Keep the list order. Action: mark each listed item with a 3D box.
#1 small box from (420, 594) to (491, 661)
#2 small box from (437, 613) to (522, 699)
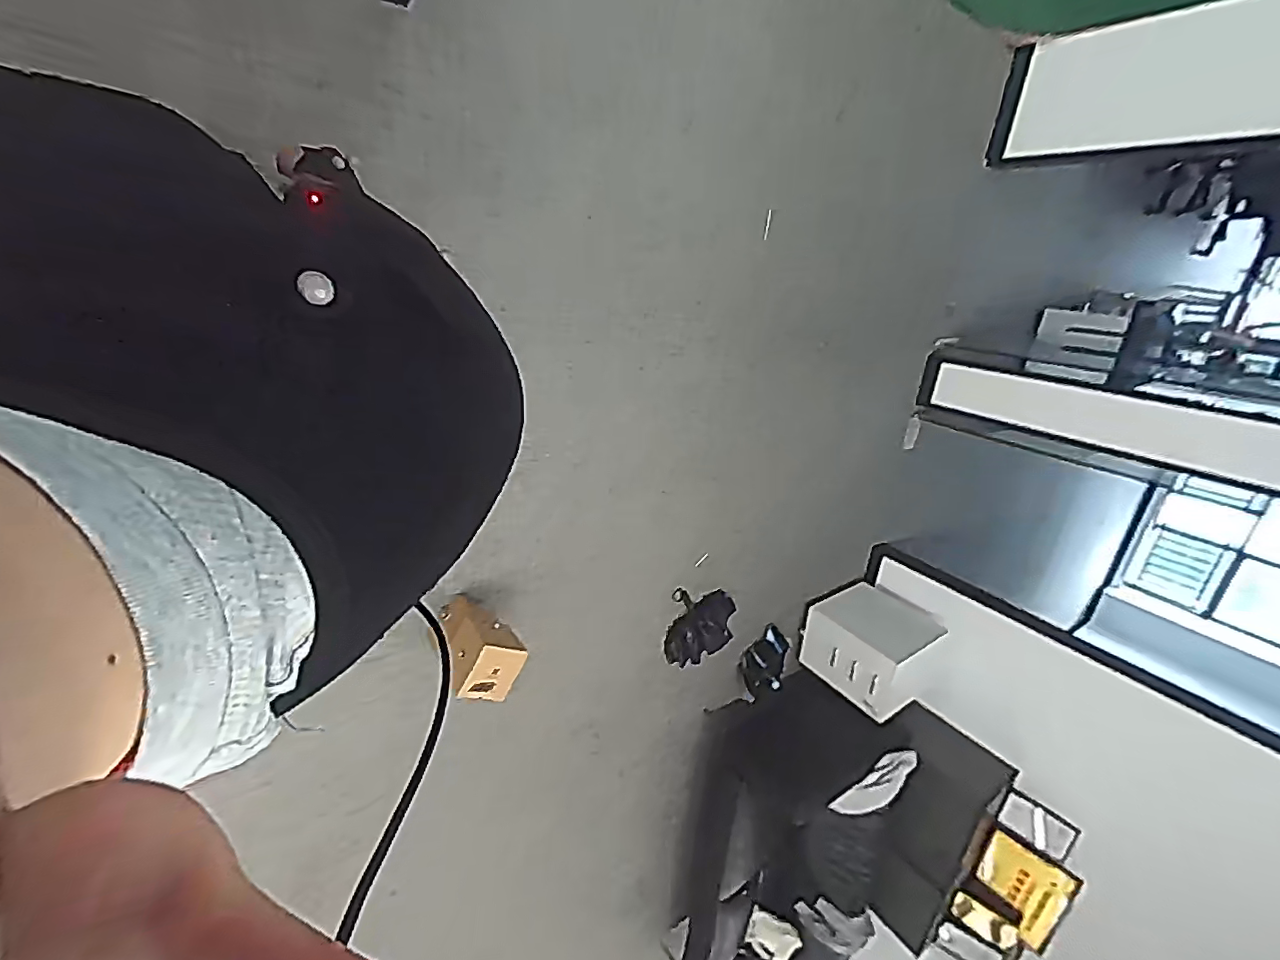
[{"bbox_3d":[-0.594,0.507,1.793,0.168,0.176,0.179,-51,131,-8],"label":"small box"},{"bbox_3d":[-0.500,0.539,1.659,0.168,0.176,0.179,29,90,-43],"label":"small box"}]
